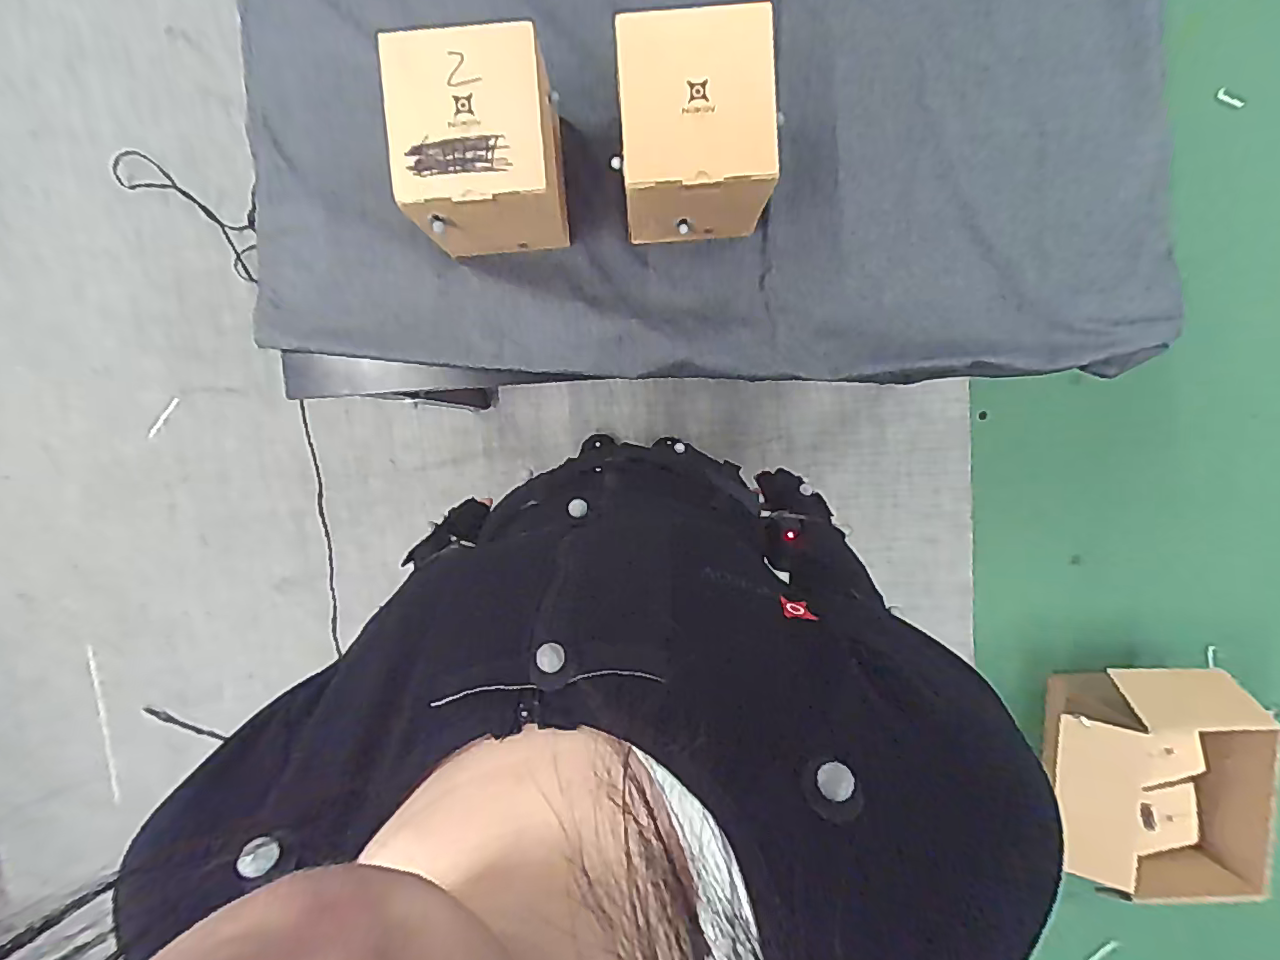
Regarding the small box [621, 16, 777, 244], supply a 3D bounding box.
[{"bbox_3d":[0.063,-0.412,0.664,0.168,0.176,0.179,-4,95,1],"label":"small box"}]
